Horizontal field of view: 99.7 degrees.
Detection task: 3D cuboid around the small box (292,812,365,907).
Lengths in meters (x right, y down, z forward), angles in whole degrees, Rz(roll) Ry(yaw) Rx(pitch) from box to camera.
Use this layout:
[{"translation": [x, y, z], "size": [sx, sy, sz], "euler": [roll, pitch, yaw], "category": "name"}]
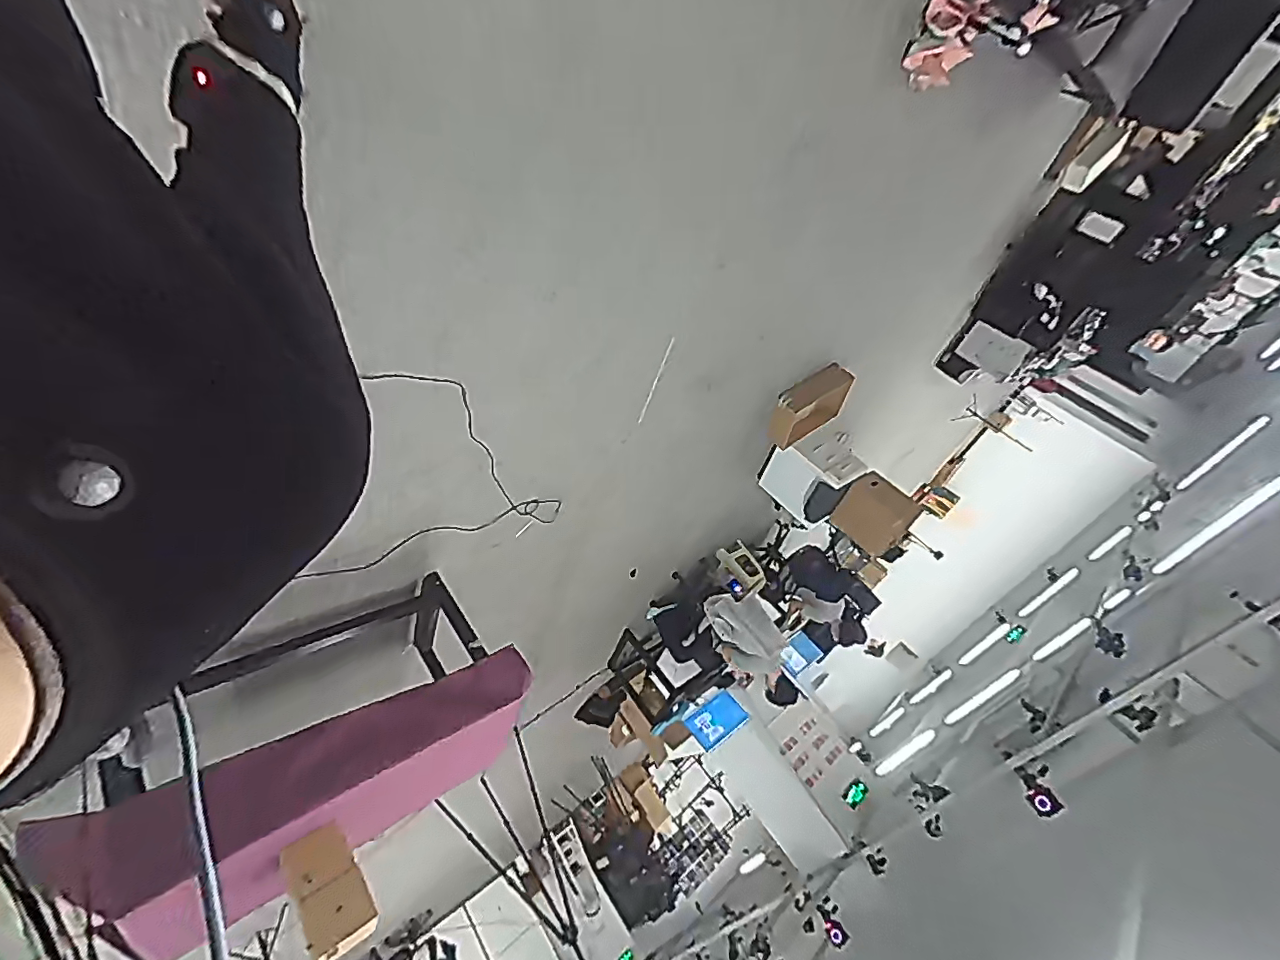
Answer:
[{"translation": [-1.041, 1.257, 1.798], "size": [0.179, 0.176, 0.168], "euler": [-14, 141, -43], "category": "small box"}]
